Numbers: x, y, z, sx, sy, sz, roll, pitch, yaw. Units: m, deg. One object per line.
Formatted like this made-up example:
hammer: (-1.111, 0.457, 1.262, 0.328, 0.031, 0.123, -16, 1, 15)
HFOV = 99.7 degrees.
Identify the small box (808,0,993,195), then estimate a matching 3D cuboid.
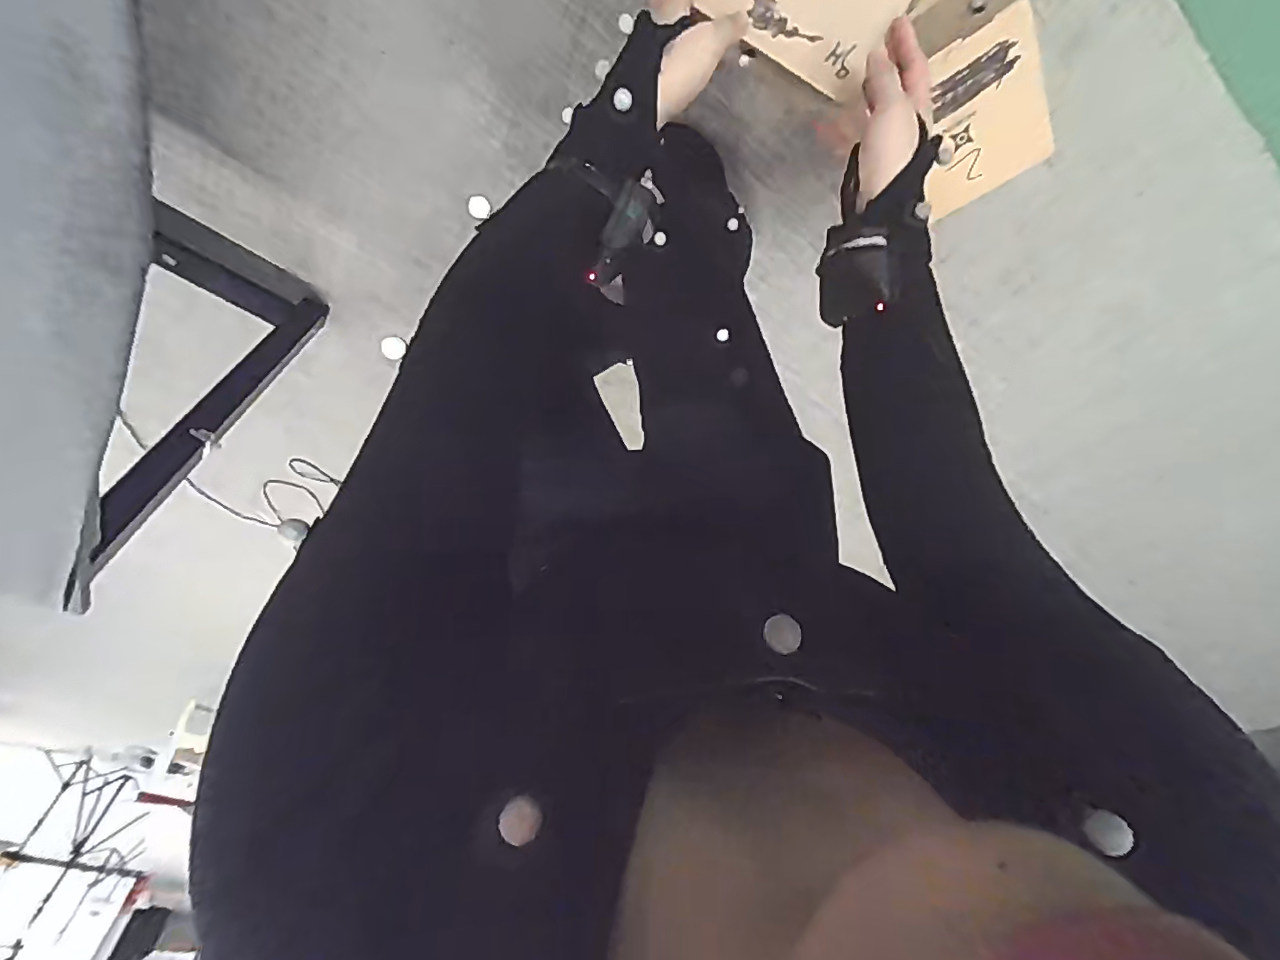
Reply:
small box: (0.371, -0.571, 0.793, 0.179, 0.176, 0.168, 36, 128, -29)
